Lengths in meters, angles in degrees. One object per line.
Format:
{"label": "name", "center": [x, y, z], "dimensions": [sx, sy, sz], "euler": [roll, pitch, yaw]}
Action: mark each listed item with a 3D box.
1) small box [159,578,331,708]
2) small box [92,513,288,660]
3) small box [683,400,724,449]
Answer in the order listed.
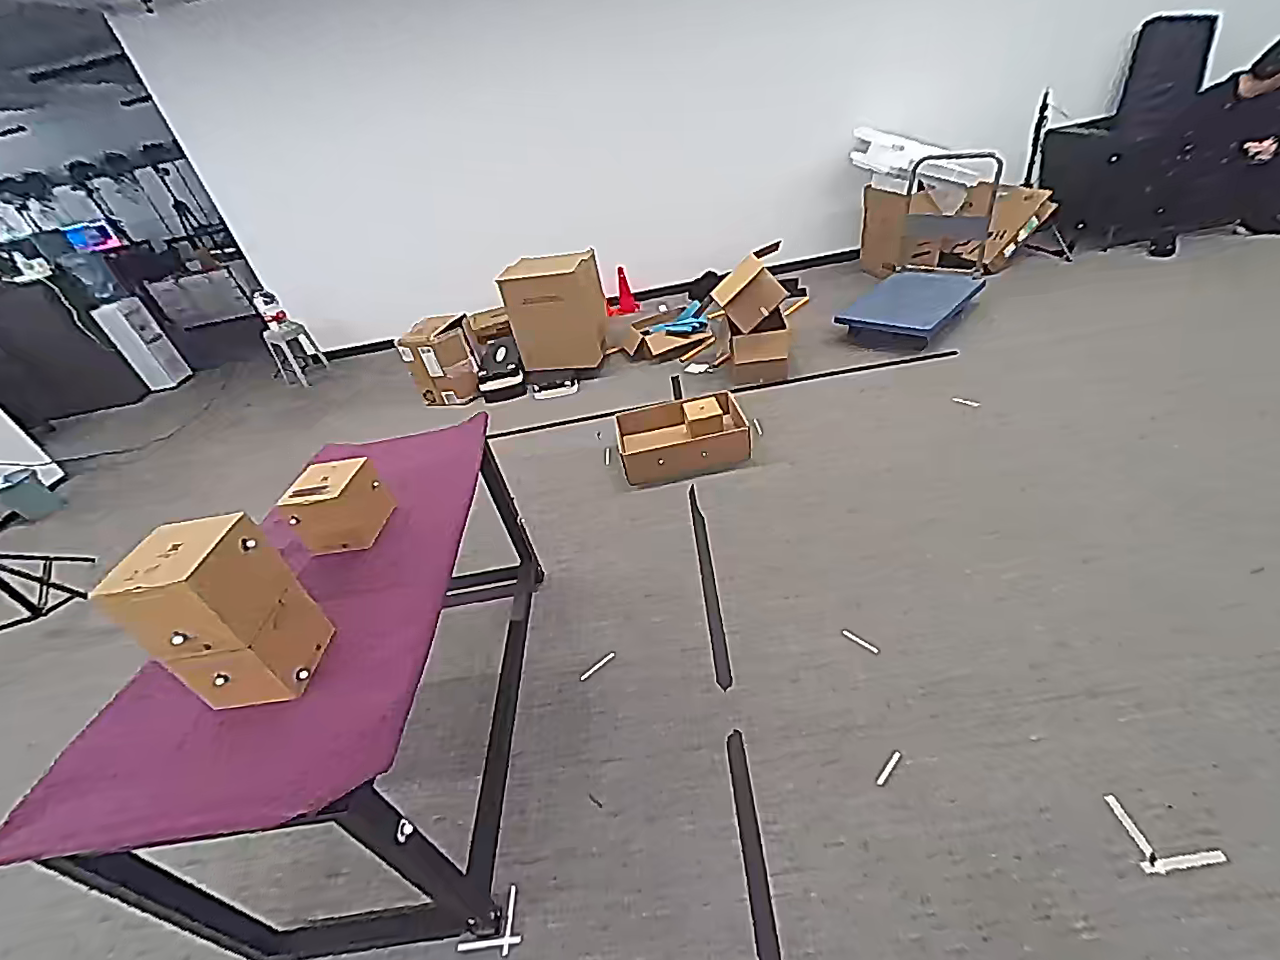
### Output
{"label": "small box", "center": [-0.744, 0.317, 1.046], "dimensions": [0.179, 0.176, 0.168], "euler": [-10, 35, 4]}
{"label": "small box", "center": [-0.763, 0.185, 0.947], "dimensions": [0.168, 0.176, 0.179], "euler": [-10, 35, 3]}
{"label": "small box", "center": [0.315, -0.276, 2.696], "dimensions": [0.168, 0.176, 0.179], "euler": [-13, 36, 1]}
